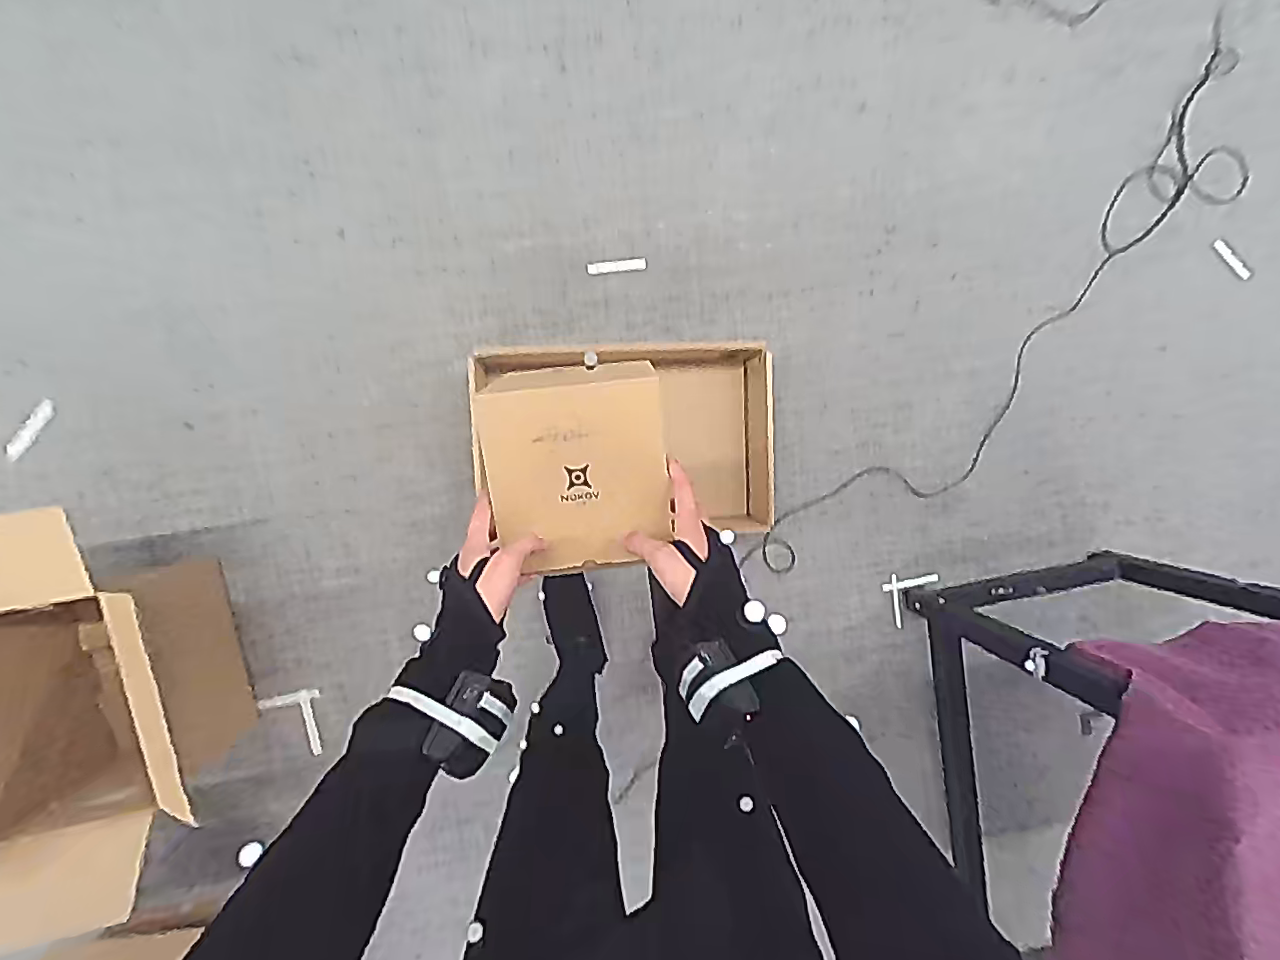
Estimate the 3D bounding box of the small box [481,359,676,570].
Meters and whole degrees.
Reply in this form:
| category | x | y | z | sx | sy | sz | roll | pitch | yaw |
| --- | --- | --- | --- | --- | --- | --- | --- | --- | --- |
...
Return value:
| category | x | y | z | sx | sy | sz | roll | pitch | yaw |
| --- | --- | --- | --- | --- | --- | --- | --- | --- | --- |
| small box | -0.053 | -0.026 | 0.566 | 0.168 | 0.176 | 0.179 | -5 | 108 | -2 |
